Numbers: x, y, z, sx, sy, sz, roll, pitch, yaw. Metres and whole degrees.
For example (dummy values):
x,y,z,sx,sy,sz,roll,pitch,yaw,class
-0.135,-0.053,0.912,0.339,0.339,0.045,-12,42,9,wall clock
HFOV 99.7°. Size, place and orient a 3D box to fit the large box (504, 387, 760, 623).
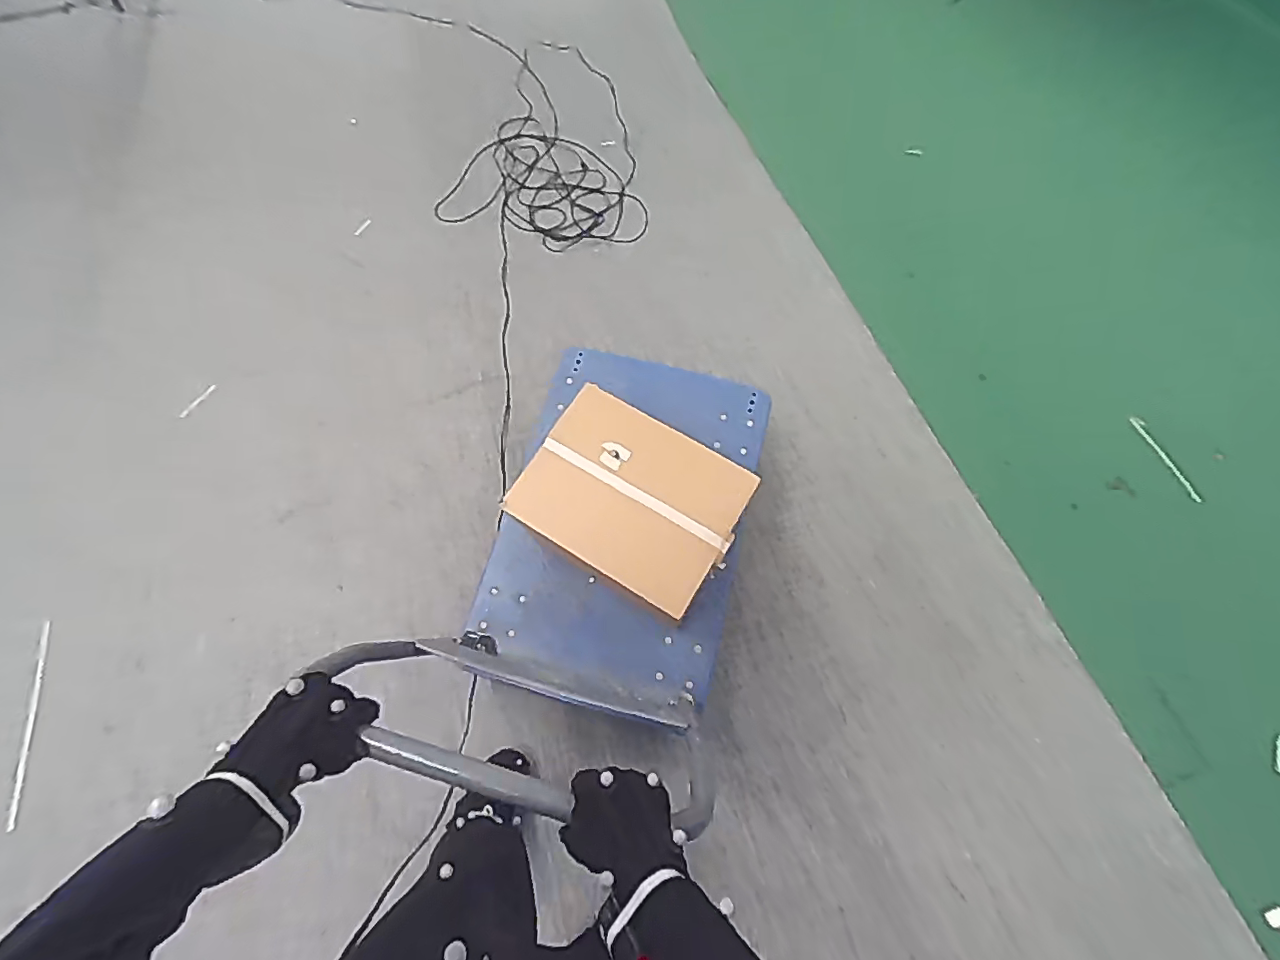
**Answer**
x,y,z,sx,sy,sz,roll,pitch,yaw,class
-0.006,0.071,1.171,0.408,0.320,0.320,30,75,12,large box
